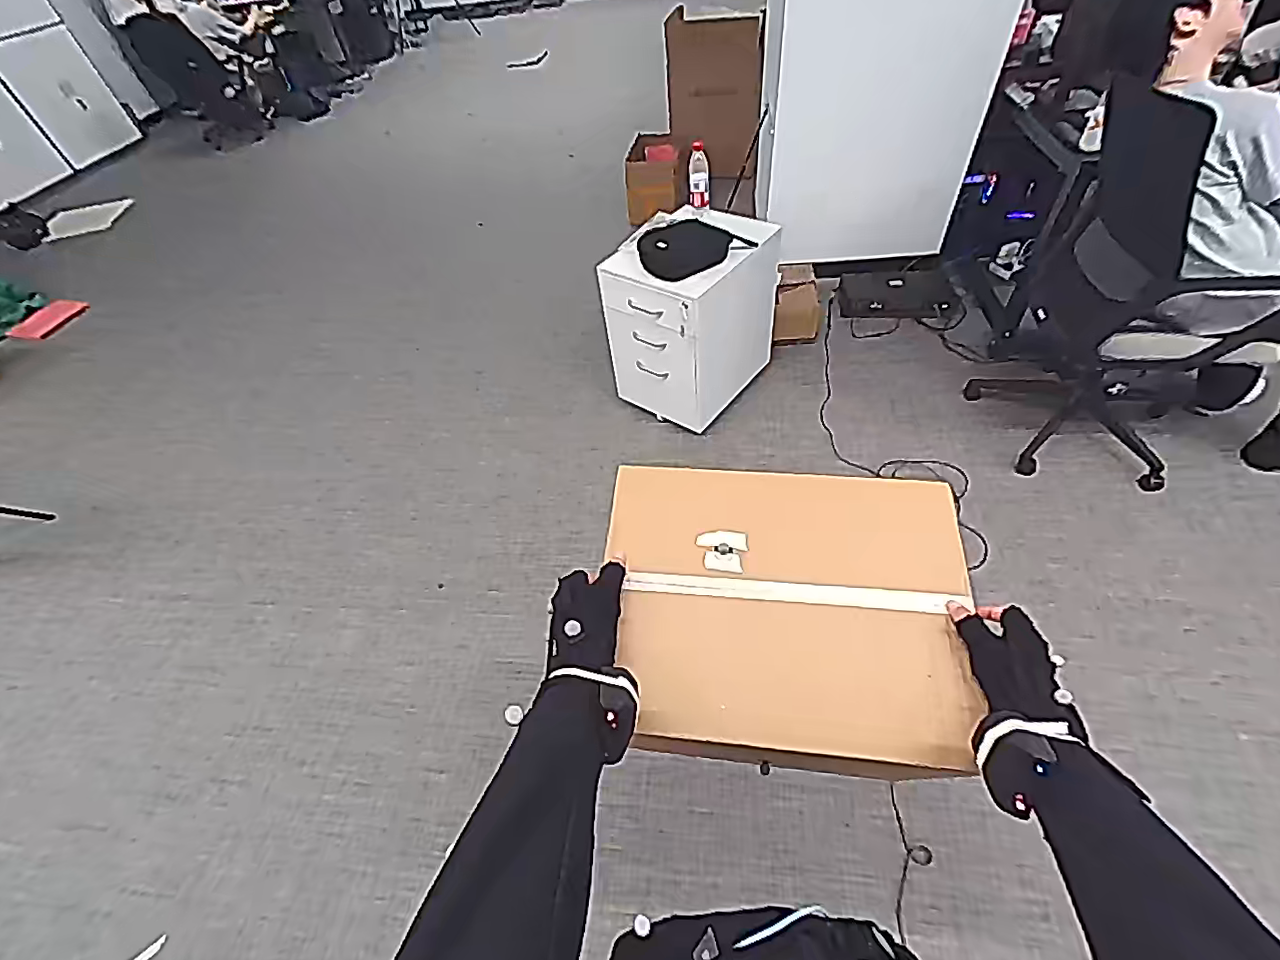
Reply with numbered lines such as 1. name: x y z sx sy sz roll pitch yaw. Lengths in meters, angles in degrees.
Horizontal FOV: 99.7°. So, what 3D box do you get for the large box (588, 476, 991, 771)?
1. large box: 0.171 0.207 0.741 0.408 0.320 0.320 3 60 8
